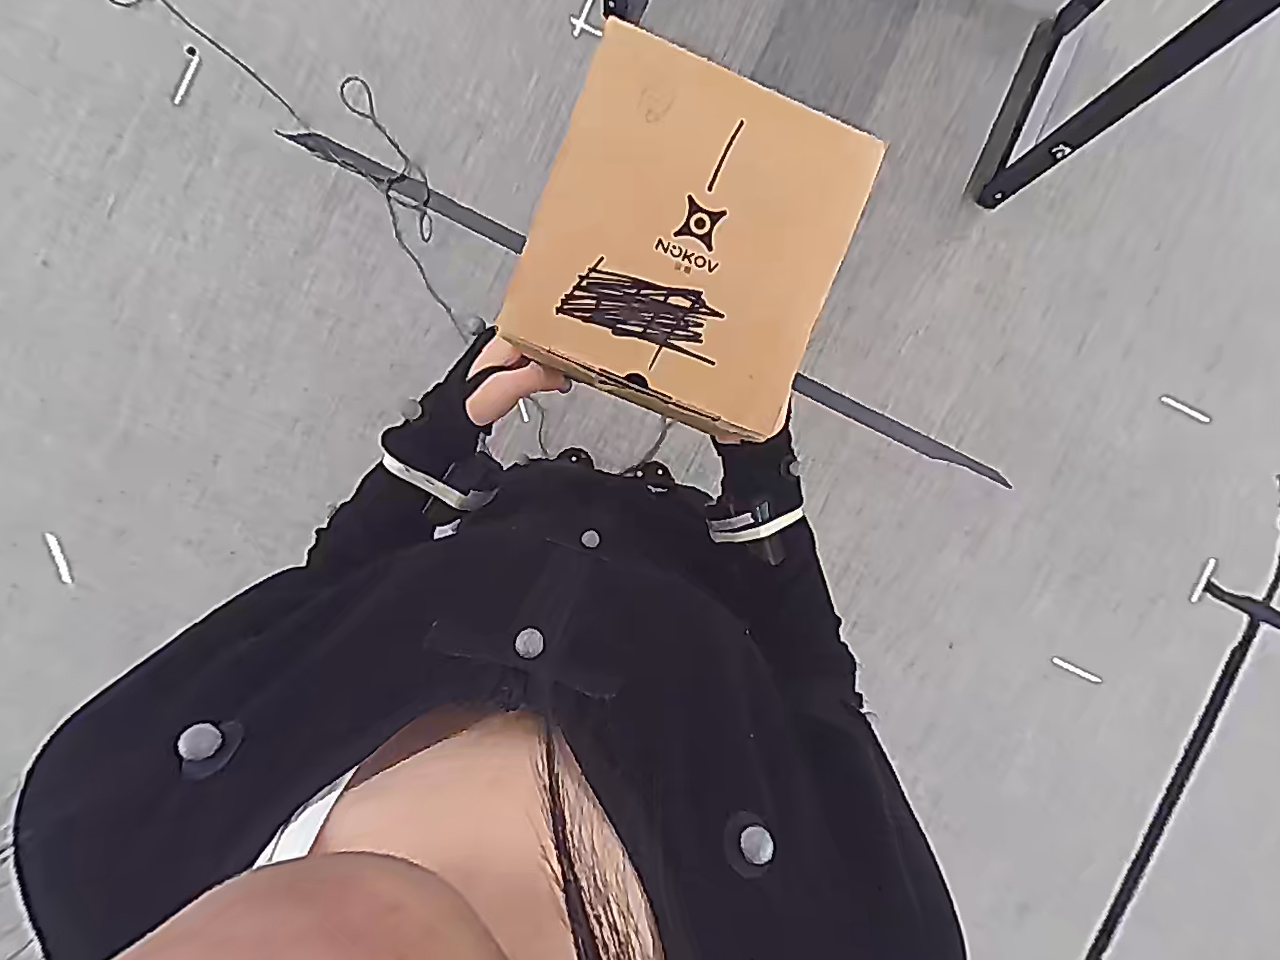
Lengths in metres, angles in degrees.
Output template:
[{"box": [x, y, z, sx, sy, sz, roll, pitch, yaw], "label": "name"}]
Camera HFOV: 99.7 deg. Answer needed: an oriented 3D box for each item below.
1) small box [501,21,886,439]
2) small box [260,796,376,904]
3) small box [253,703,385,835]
[{"box": [0.026, -0.139, 0.374, 0.168, 0.176, 0.179, 21, 94, -6], "label": "small box"}, {"box": [-0.831, 0.941, 1.410, 0.179, 0.176, 0.168, 19, 92, -2], "label": "small box"}, {"box": [-0.723, 0.652, 1.241, 0.168, 0.176, 0.179, 28, 89, -3], "label": "small box"}]
